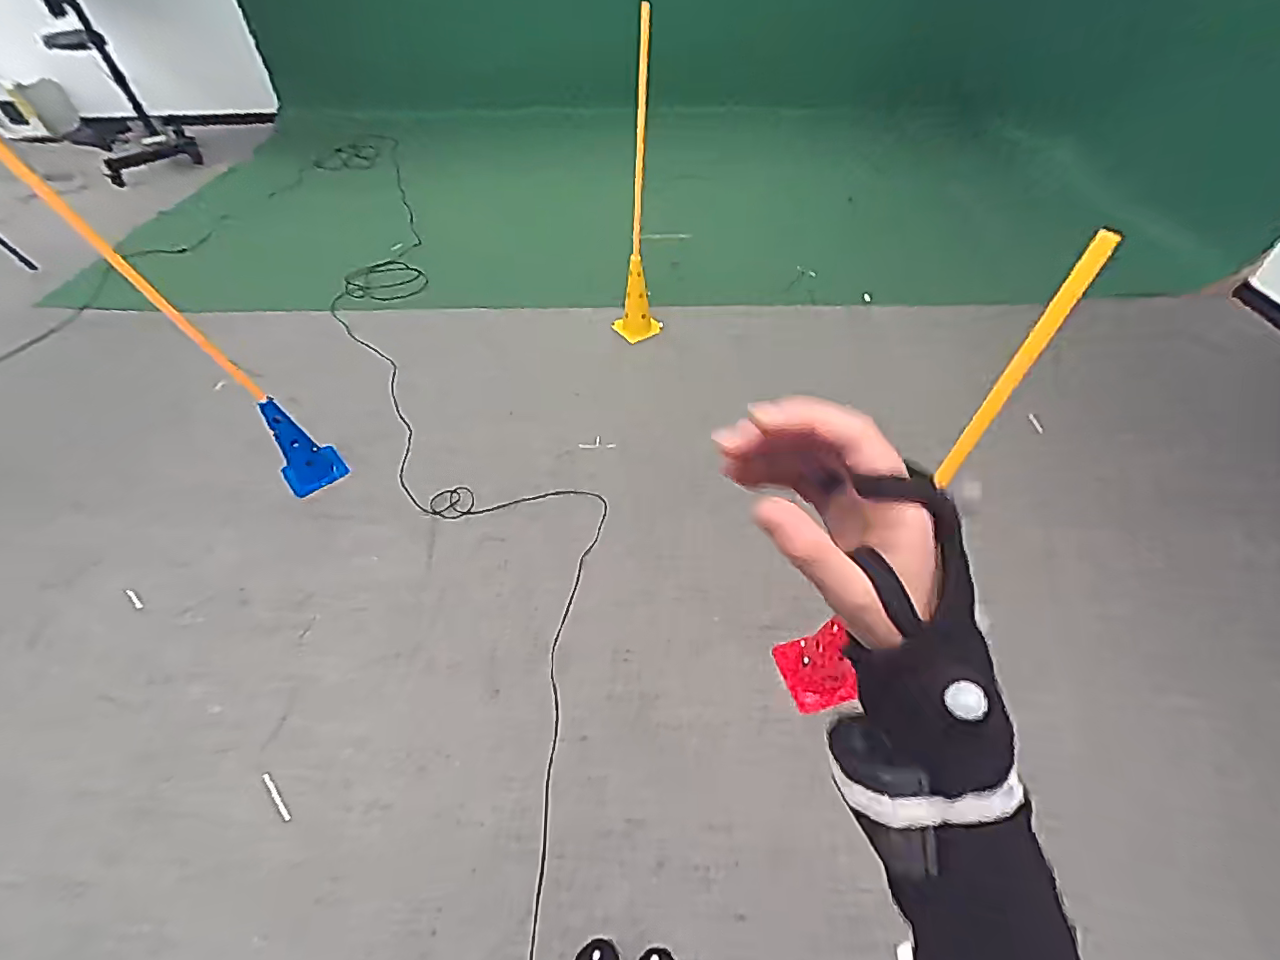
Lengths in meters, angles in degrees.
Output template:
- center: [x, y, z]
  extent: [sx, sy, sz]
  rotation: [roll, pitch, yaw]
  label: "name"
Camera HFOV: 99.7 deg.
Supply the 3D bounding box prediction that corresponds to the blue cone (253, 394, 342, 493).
- center: [-1.232, -0.146, 1.894]
  extent: [0.193, 0.380, 0.192]
  rotation: [-37, 58, -25]
  label: "blue cone"
